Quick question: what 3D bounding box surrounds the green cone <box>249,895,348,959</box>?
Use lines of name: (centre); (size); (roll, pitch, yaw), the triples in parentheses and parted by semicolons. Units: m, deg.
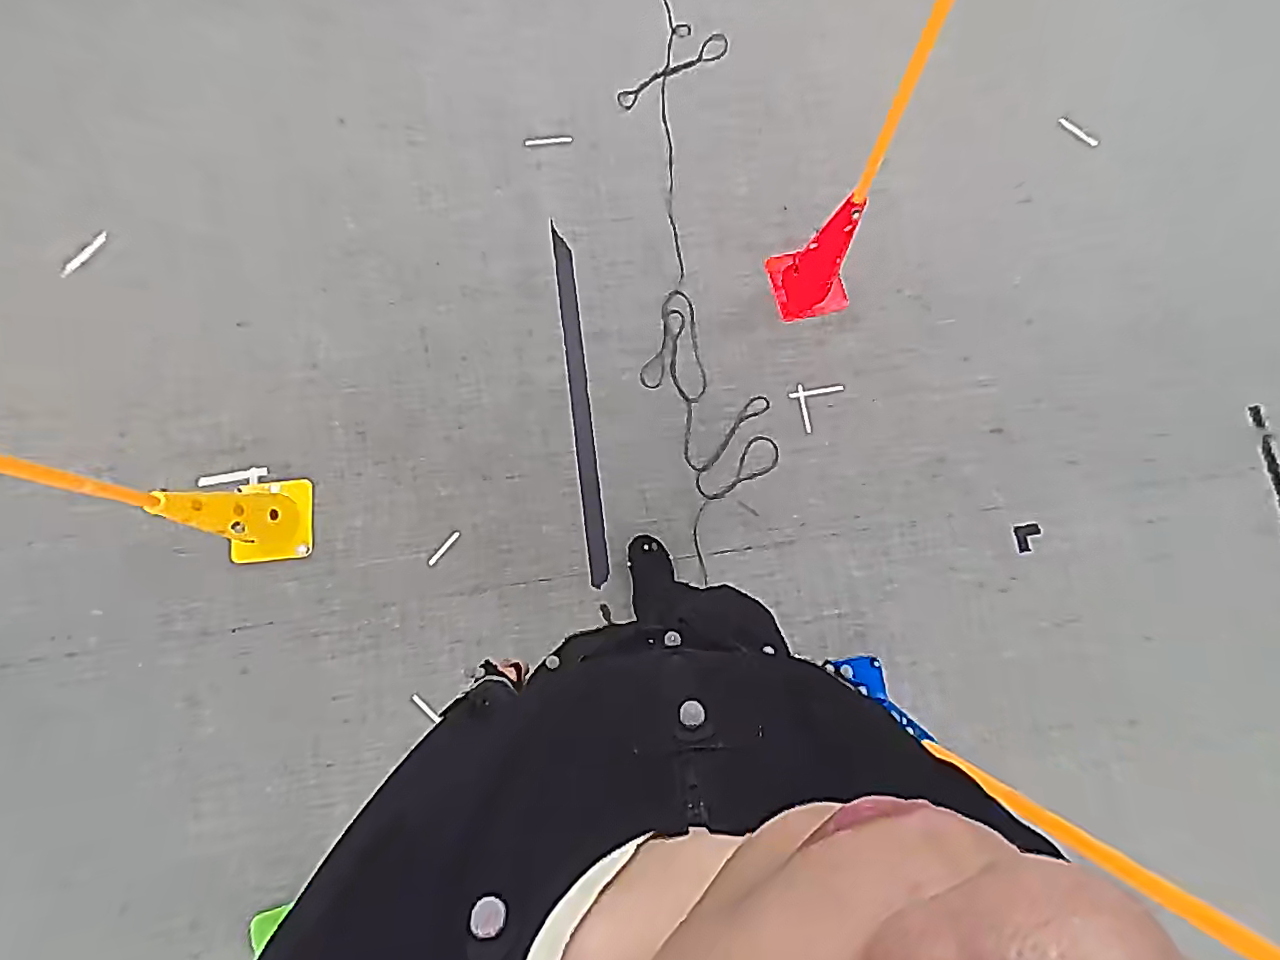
green cone: (-0.748, 1.015, 1.024); (0.200, 0.368, 0.202); (-18, 79, -5)

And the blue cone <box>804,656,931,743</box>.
blue cone: (0.511, 0.506, 1.163); (0.193, 0.380, 0.192); (-5, 79, -3)

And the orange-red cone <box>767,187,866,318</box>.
orange-red cone: (0.472, -0.589, 1.350); (0.199, 0.360, 0.198); (-13, 80, -2)
